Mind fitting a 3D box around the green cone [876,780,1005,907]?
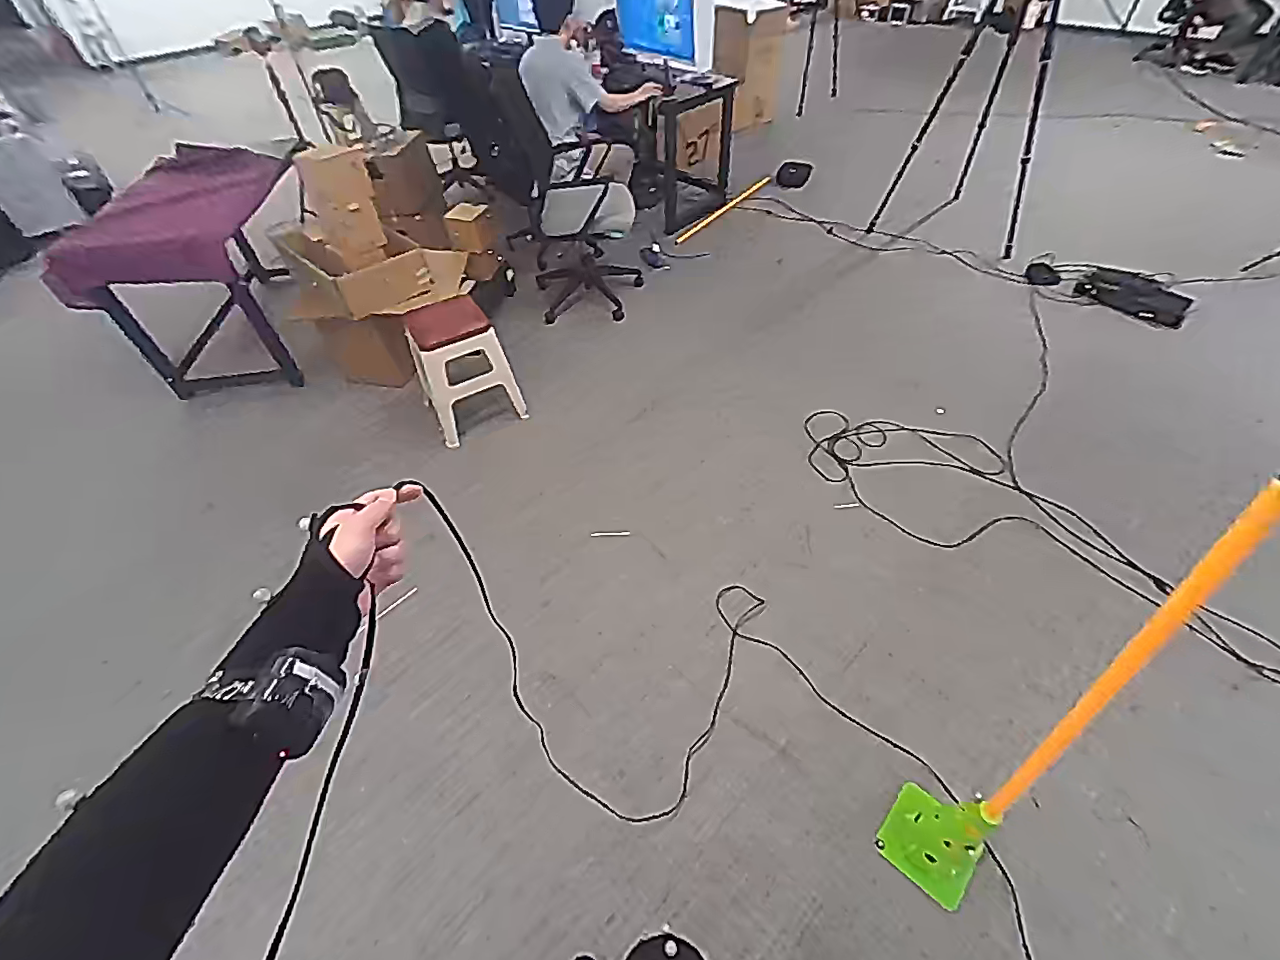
[{"bbox_3d":[0.697,0.758,1.183,0.200,0.368,0.202,34,57,28],"label":"green cone"}]
